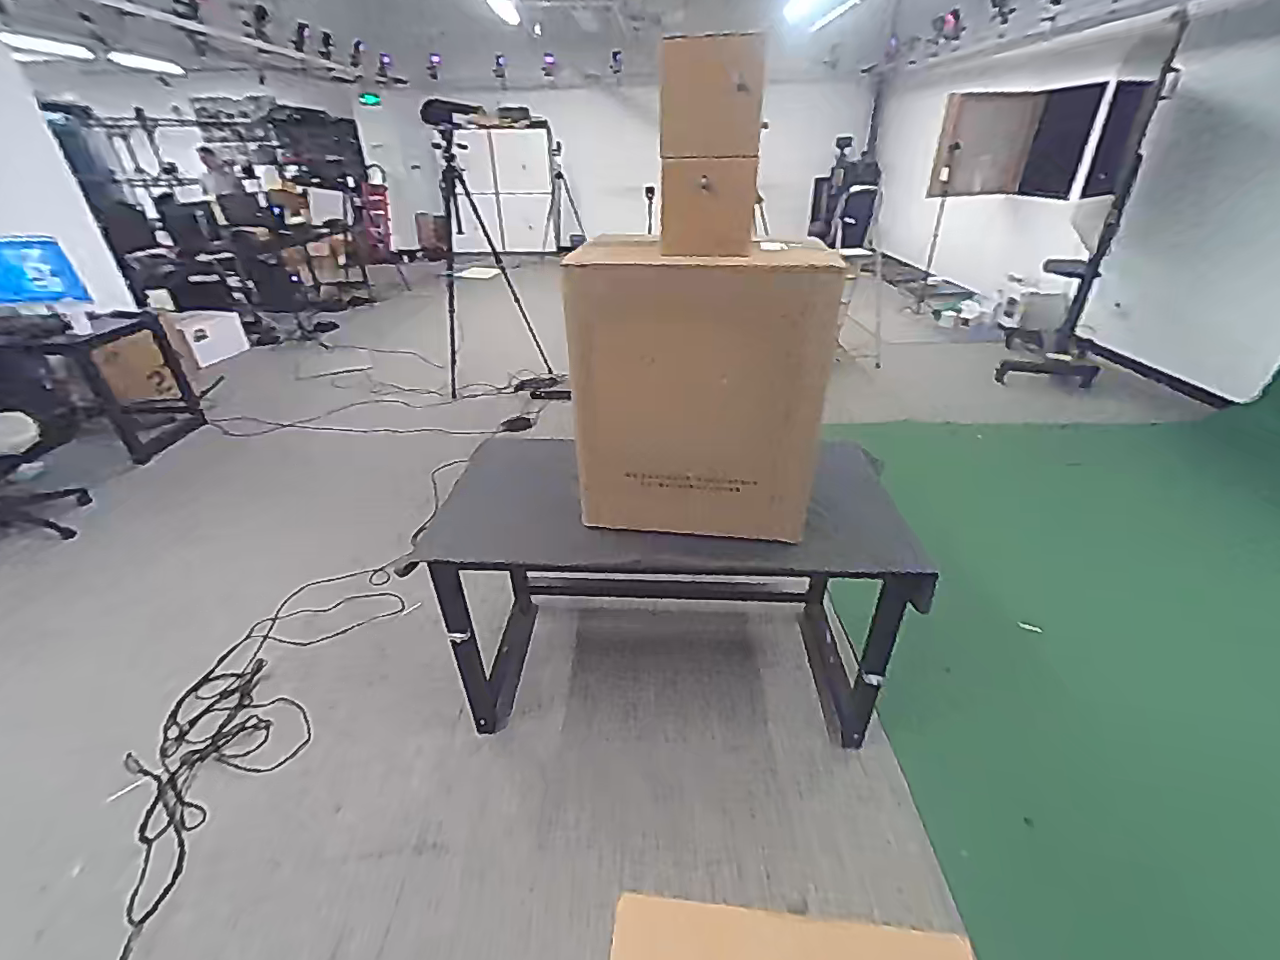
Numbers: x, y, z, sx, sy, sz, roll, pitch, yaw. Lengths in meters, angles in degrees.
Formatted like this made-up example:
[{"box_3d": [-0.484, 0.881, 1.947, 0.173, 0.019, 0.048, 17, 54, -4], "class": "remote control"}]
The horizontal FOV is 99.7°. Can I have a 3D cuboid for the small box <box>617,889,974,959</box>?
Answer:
[{"box_3d": [0.074, 0.337, 0.281, 0.179, 0.176, 0.168, 1, 45, 9], "class": "small box"}]

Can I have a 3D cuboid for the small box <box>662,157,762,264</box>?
[{"box_3d": [0.139, -0.524, 1.053, 0.179, 0.176, 0.168, 4, 34, 8], "class": "small box"}]
